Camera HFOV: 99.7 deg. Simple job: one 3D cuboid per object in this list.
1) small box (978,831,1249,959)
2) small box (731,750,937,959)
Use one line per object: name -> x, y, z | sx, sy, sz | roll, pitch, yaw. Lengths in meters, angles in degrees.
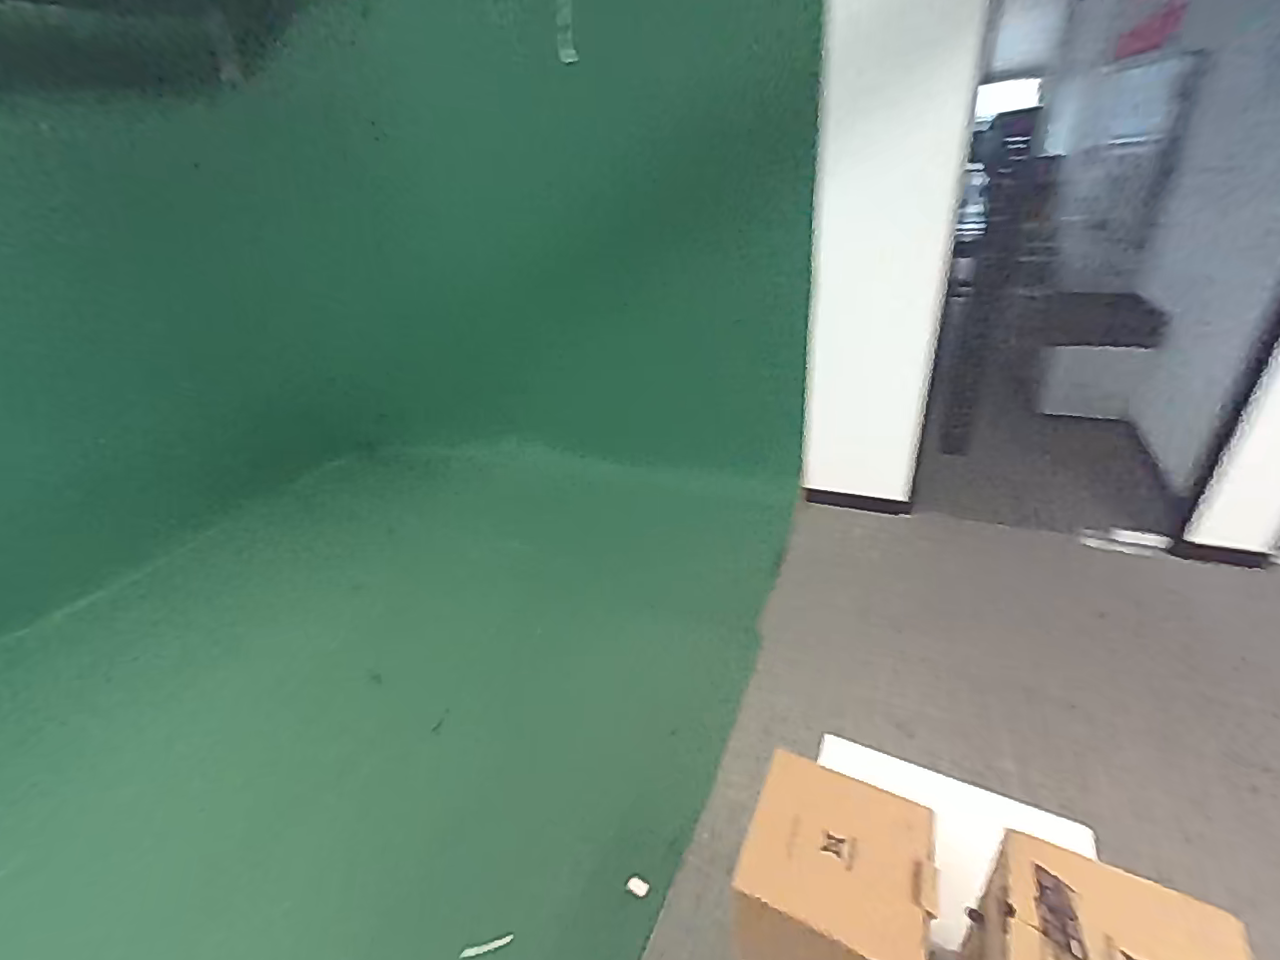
small box -> 0.421, 0.483, 0.498 | 0.179, 0.176, 0.168 | 12, 35, 30
small box -> 0.211, 0.450, 0.599 | 0.179, 0.176, 0.168 | 11, 33, 27
